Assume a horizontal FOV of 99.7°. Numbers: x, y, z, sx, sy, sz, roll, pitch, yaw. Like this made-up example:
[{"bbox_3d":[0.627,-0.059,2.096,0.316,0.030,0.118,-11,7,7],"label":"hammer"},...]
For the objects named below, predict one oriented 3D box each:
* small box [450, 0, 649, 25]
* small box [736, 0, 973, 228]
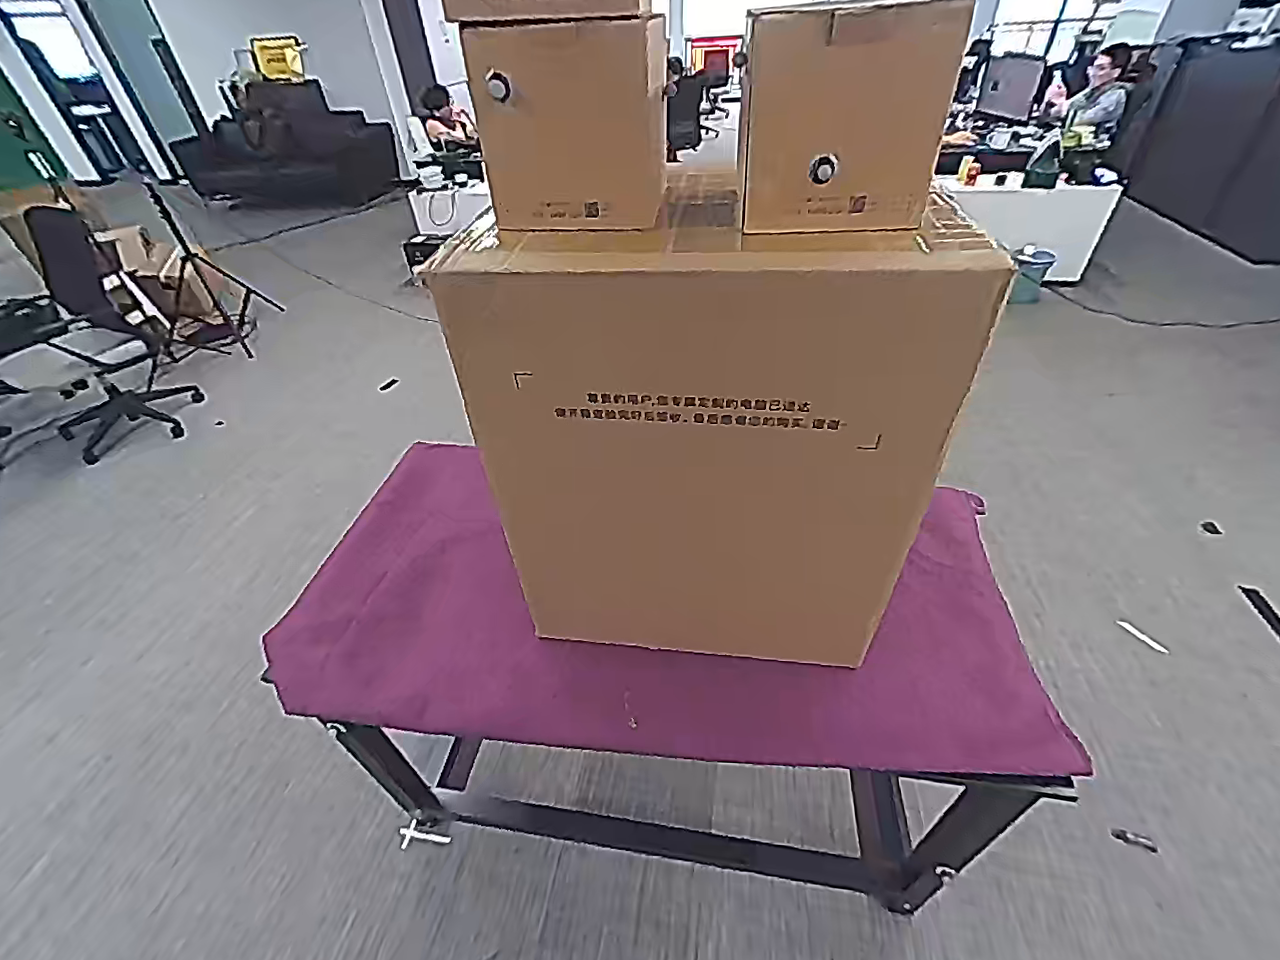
[{"bbox_3d":[-0.078,-0.499,0.456,0.168,0.176,0.179,2,41,4],"label":"small box"},{"bbox_3d":[0.183,-0.360,0.528,0.168,0.176,0.179,1,42,7],"label":"small box"}]
